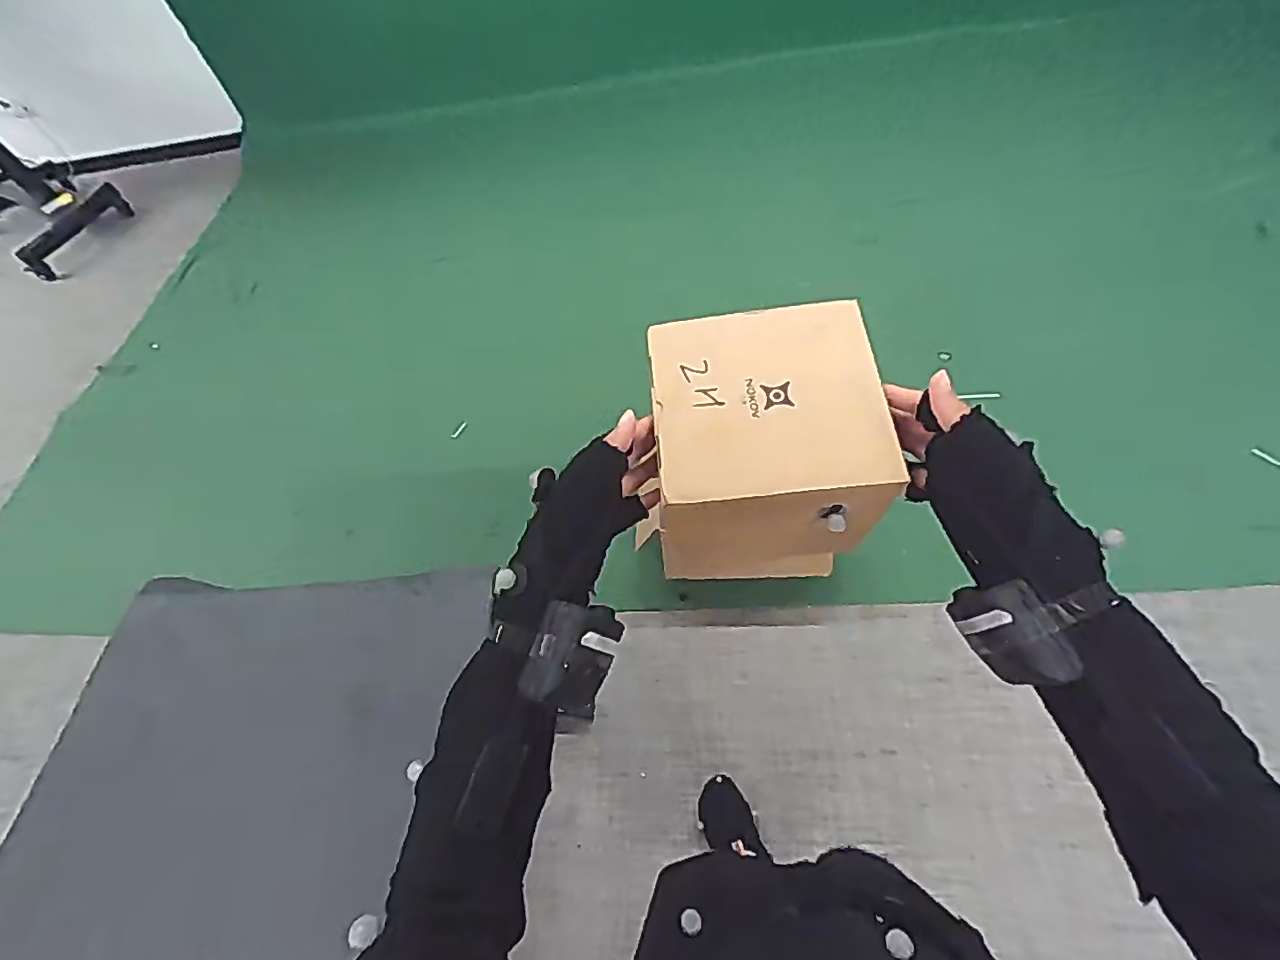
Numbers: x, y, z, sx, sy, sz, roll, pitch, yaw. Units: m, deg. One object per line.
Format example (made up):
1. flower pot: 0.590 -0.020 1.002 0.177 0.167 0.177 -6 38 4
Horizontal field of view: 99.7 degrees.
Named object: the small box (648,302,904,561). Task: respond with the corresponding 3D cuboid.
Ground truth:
1. small box: 0.105 -0.032 0.489 0.179 0.176 0.168 -6 65 5
